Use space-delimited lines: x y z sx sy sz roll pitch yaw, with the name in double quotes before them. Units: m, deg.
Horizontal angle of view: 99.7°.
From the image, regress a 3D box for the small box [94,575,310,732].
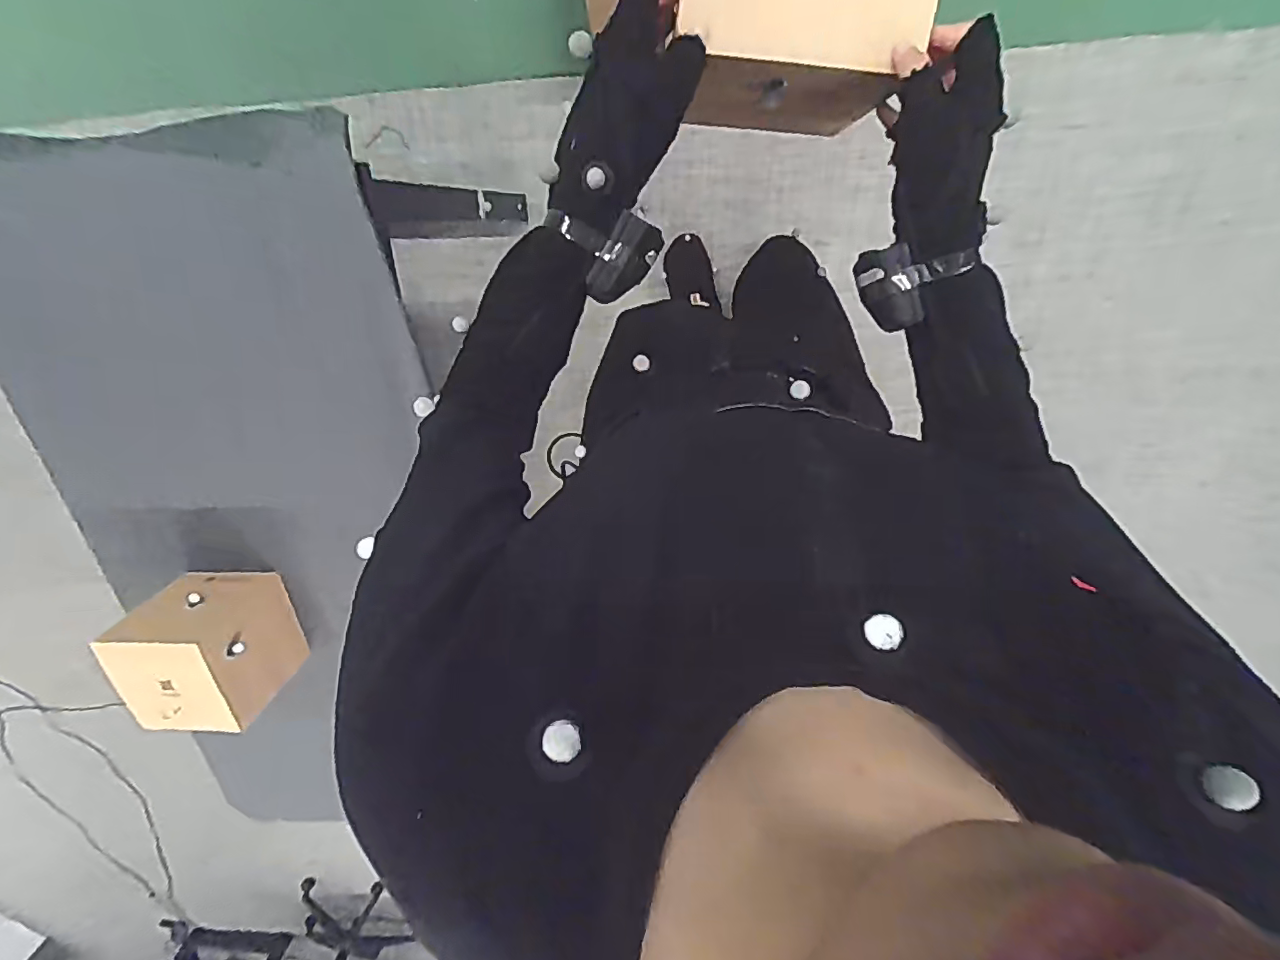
"small box" -0.663 0.263 0.846 0.168 0.176 0.179 -1 116 6
